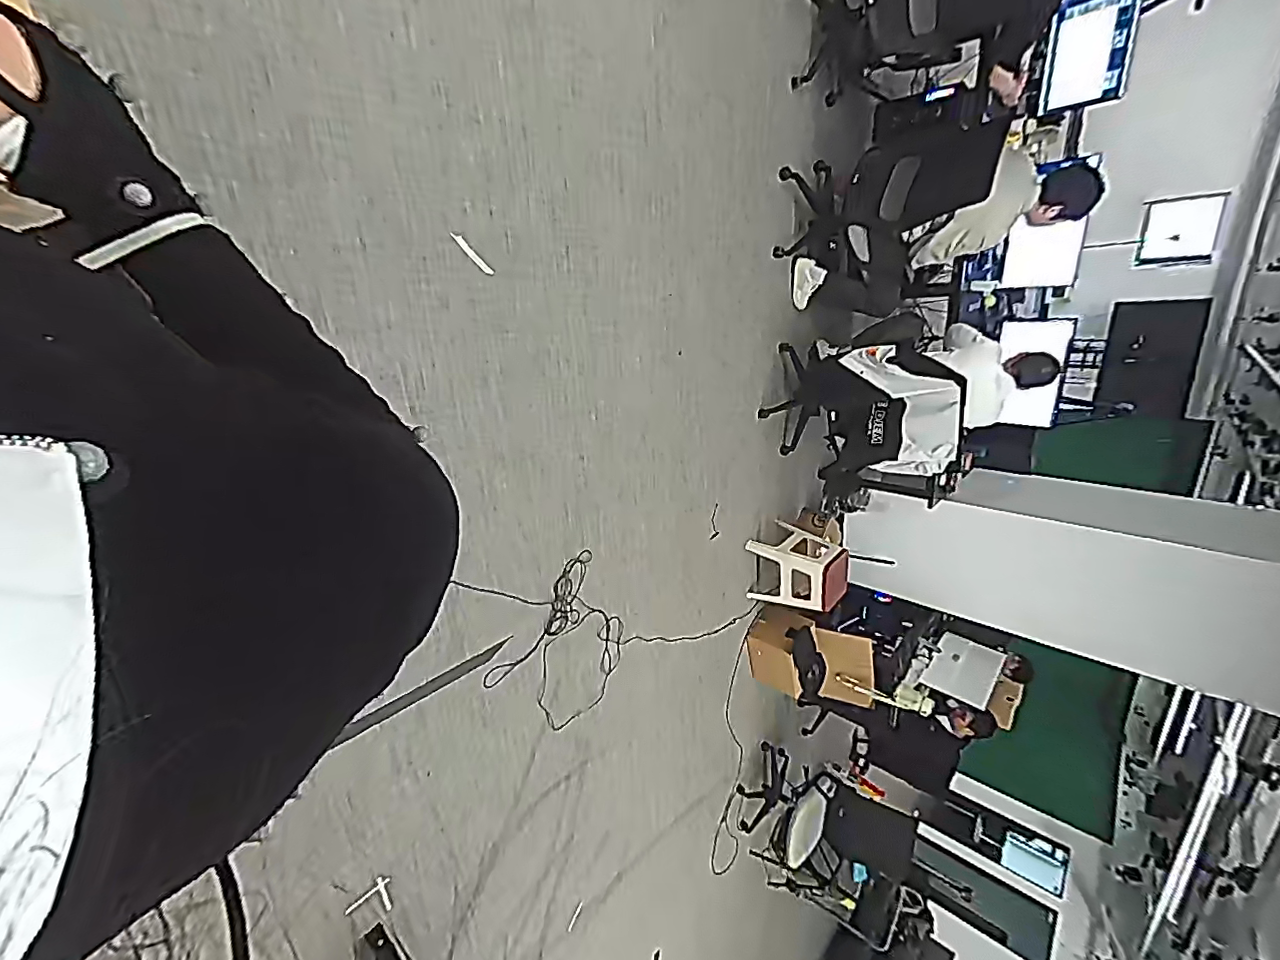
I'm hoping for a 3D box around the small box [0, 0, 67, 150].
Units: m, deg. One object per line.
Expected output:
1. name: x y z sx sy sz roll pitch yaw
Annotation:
1. small box: -0.739 -0.447 0.544 0.179 0.176 0.168 -25 119 -44
